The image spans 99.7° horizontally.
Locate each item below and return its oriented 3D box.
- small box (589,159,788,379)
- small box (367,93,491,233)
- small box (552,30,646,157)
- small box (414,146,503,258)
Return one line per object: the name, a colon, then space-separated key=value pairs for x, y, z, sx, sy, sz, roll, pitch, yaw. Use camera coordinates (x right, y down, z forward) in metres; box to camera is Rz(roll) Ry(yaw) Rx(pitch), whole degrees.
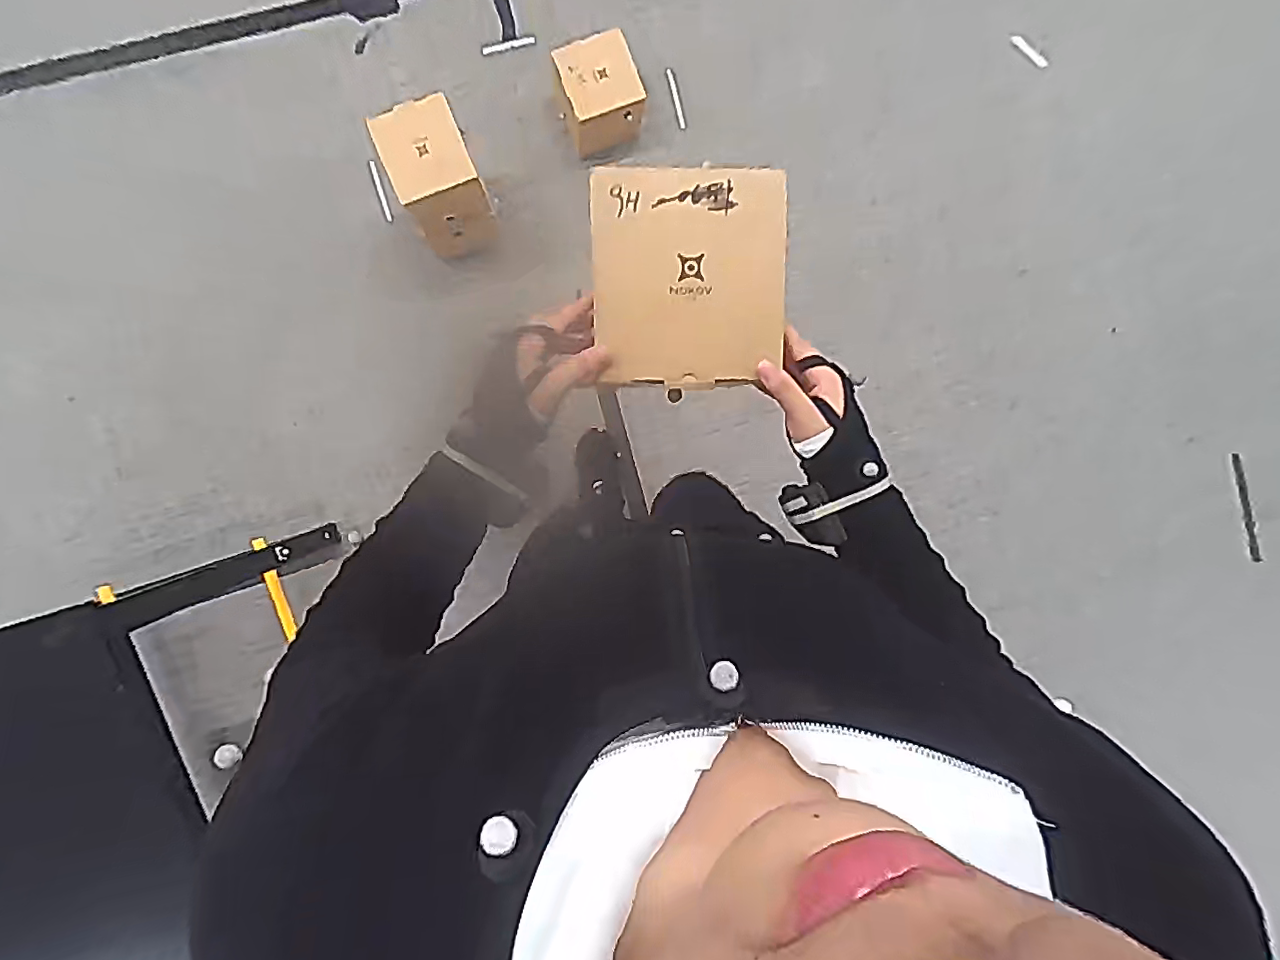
small box: x=0.037 y=-0.190 z=0.534 sx=0.168 sy=0.176 sz=0.179 roll=-2 pitch=100 yaw=-4
small box: x=-0.437 y=-0.661 z=1.148 sx=0.168 sy=0.176 sz=0.179 roll=-23 pitch=98 yaw=-2
small box: x=-0.104 y=-0.938 z=1.326 sx=0.179 sy=0.176 sz=0.168 roll=-23 pitch=96 yaw=-4
small box: x=-0.450 y=-0.663 z=1.310 sx=0.179 sy=0.176 sz=0.168 roll=-20 pitch=97 yaw=-4
